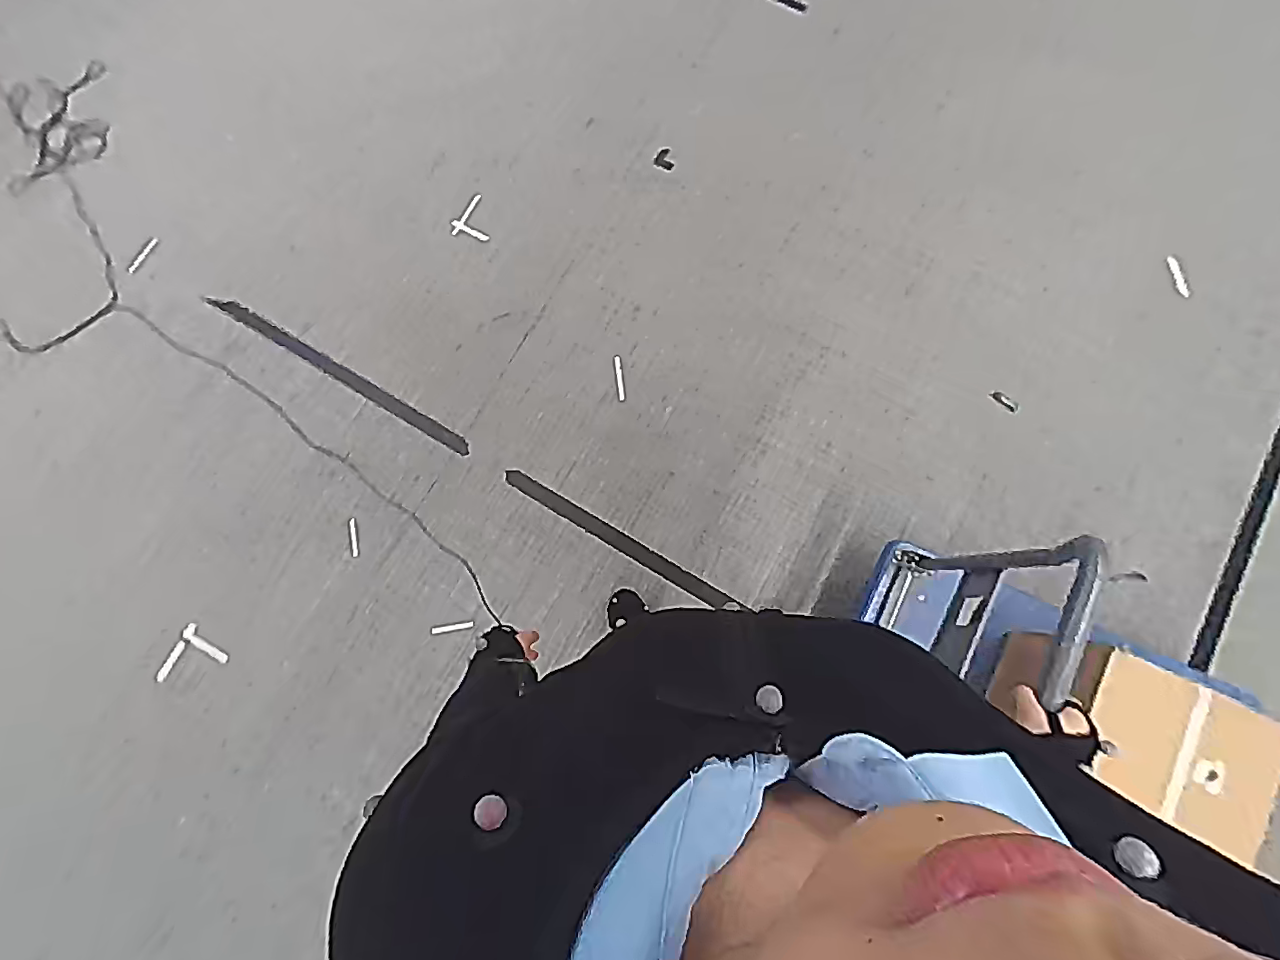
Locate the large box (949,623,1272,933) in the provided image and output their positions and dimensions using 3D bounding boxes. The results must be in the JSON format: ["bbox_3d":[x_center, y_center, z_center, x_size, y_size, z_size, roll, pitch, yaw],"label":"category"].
[{"bbox_3d":[0.906,0.546,1.091,0.320,0.320,0.408,26,81,6],"label":"large box"}]
